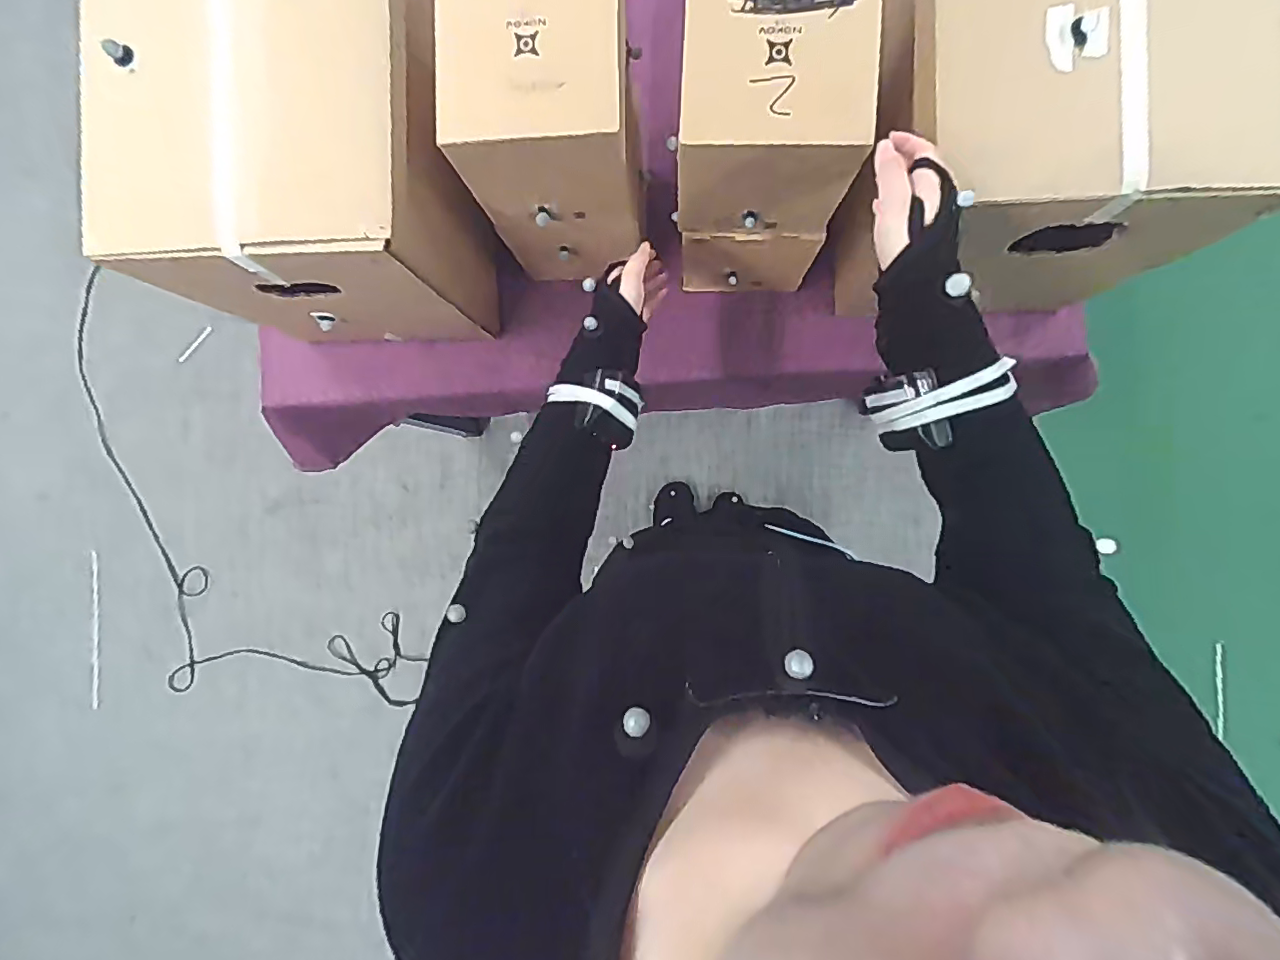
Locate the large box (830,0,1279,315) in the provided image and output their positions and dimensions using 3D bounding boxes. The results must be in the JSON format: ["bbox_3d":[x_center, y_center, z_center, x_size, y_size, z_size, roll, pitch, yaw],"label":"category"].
[{"bbox_3d":[0.423,-0.437,0.627,0.320,0.320,0.408,0,90,4],"label":"large box"}]
